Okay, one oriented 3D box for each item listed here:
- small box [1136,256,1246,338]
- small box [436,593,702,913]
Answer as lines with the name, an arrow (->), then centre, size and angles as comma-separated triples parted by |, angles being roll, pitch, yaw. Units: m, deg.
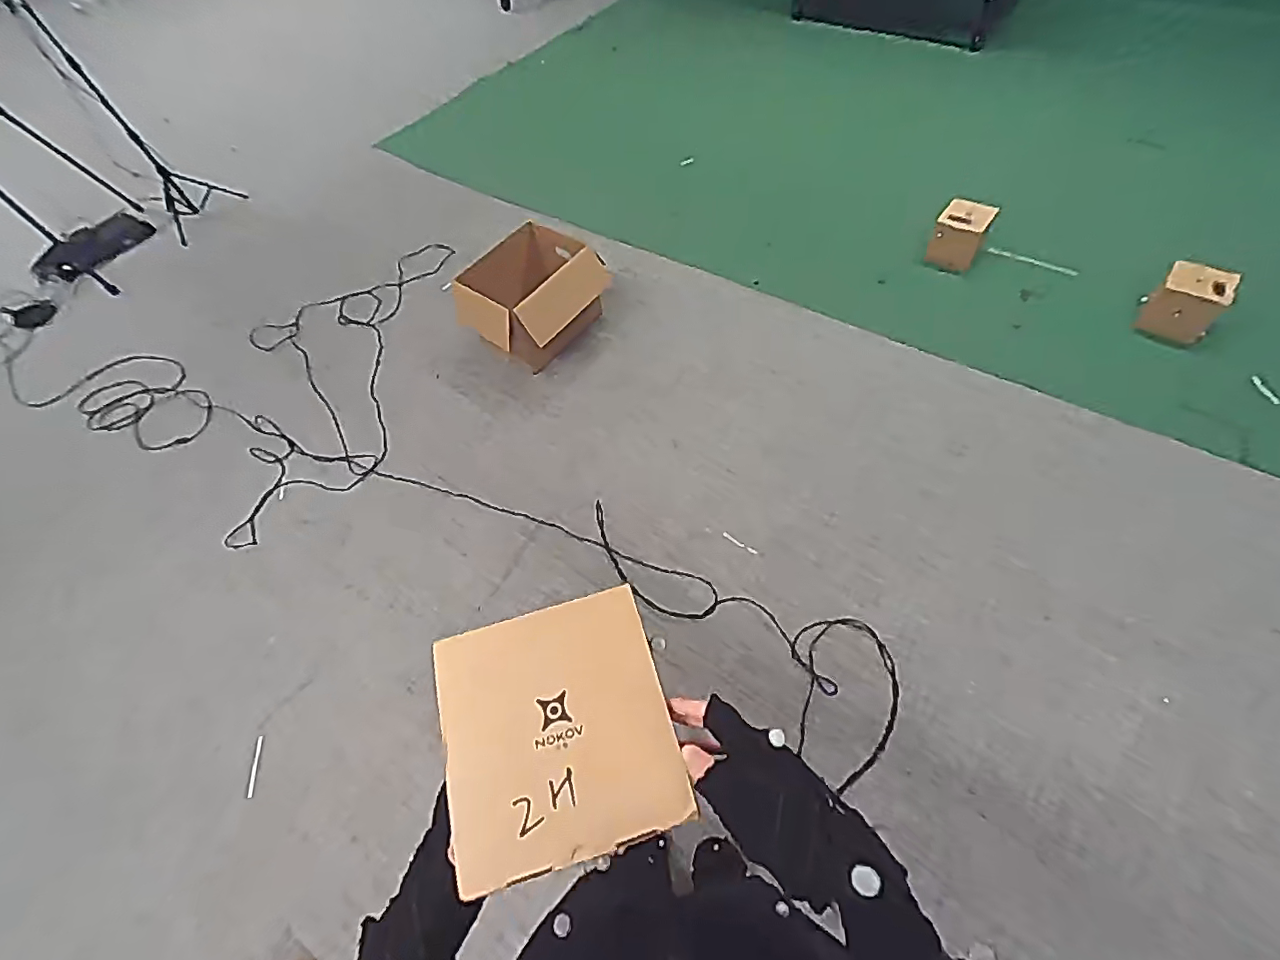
small box -> 1.798, -0.594, 1.771 | 0.179, 0.176, 0.168 | 31, 66, 24
small box -> -0.057, 0.221, 0.456 | 0.168, 0.176, 0.179 | -15, 61, -6
